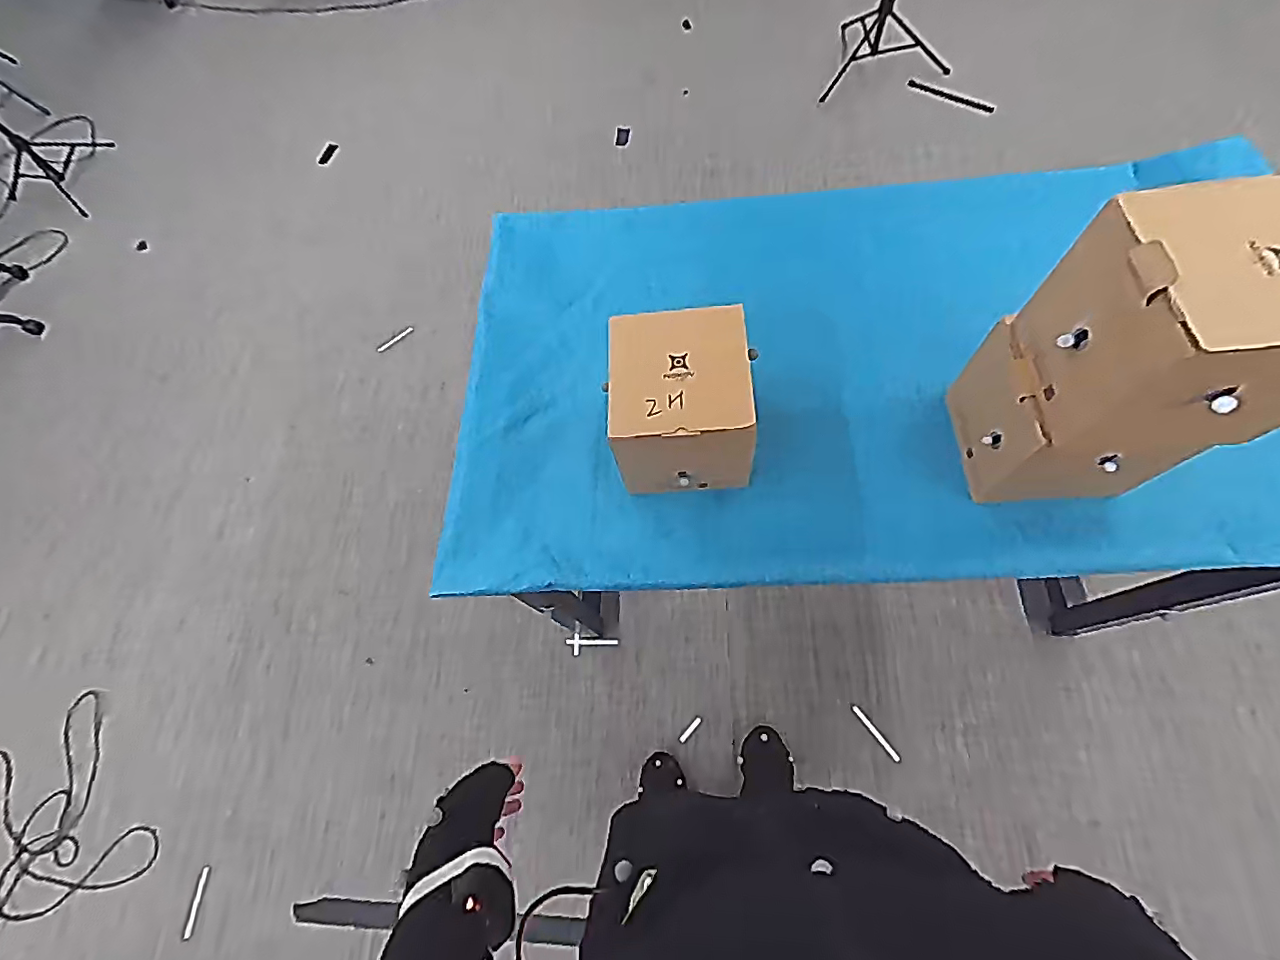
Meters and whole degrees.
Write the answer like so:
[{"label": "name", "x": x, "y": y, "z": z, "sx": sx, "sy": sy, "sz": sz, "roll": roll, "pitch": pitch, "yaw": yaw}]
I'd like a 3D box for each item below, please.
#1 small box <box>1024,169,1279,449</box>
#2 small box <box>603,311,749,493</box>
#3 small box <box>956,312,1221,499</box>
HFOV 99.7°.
[{"label": "small box", "x": 0.485, "y": -0.139, "z": 0.482, "sx": 0.179, "sy": 0.176, "sz": 0.168, "roll": -6, "pitch": 66, "yaw": 5}, {"label": "small box", "x": 0.053, "y": -0.094, "z": 0.703, "sx": 0.168, "sy": 0.176, "sz": 0.179, "roll": -1, "pitch": 69, "yaw": 9}, {"label": "small box", "x": 0.498, "y": -0.082, "z": 0.634, "sx": 0.179, "sy": 0.176, "sz": 0.168, "roll": -3, "pitch": 67, "yaw": 7}]
